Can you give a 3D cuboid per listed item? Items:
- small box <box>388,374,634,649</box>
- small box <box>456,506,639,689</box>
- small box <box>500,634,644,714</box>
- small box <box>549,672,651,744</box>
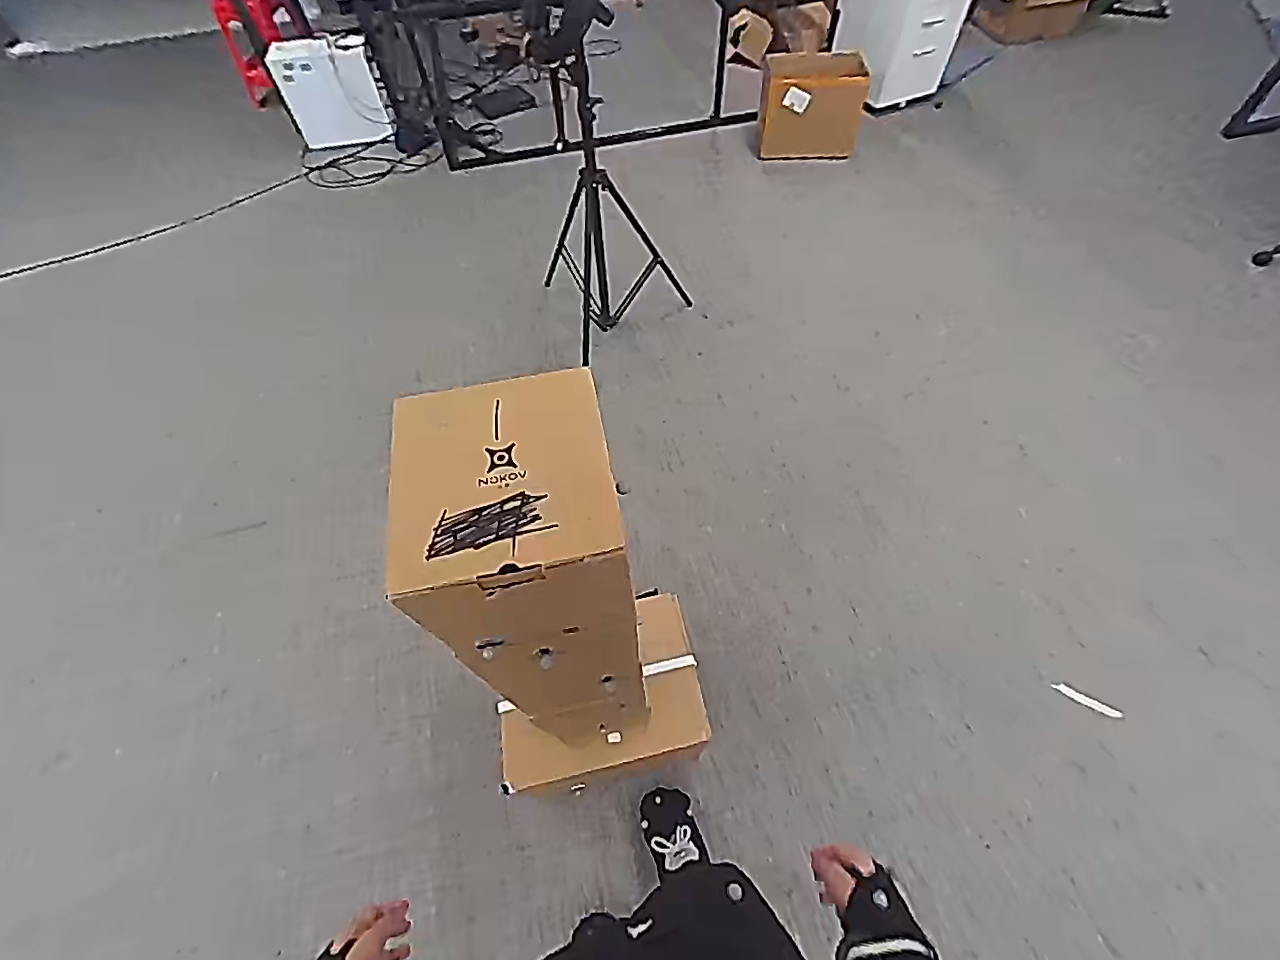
[{"bbox_3d":[-0.102,0.038,0.478,0.168,0.176,0.179,-11,58,-4],"label":"small box"},{"bbox_3d":[-0.099,0.126,0.617,0.179,0.176,0.168,-11,59,-4],"label":"small box"},{"bbox_3d":[-0.094,0.213,0.753,0.179,0.176,0.168,-11,58,-5],"label":"small box"},{"bbox_3d":[-0.082,0.390,1.030,0.179,0.176,0.168,-14,59,-7],"label":"small box"}]
